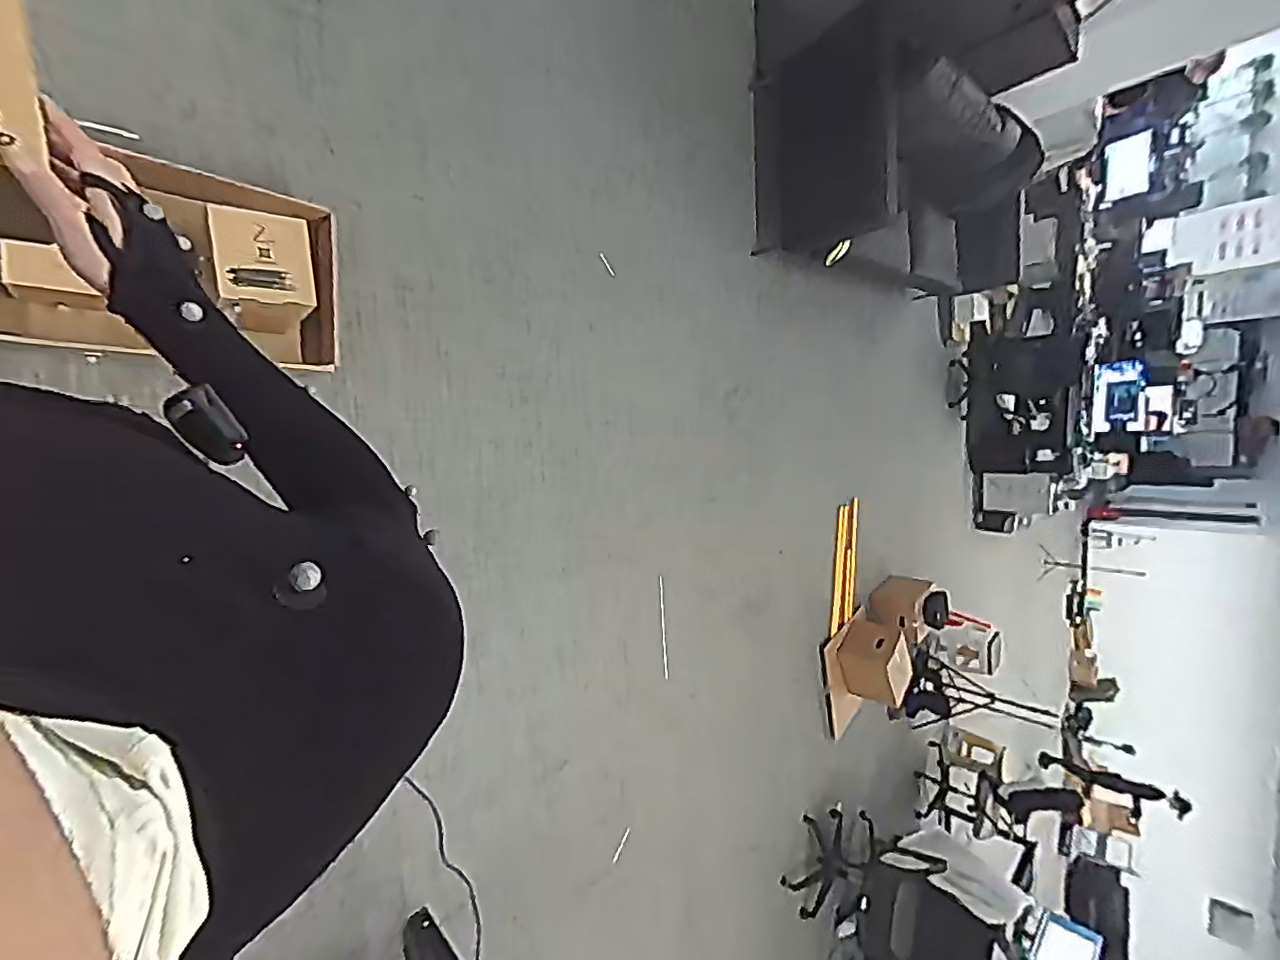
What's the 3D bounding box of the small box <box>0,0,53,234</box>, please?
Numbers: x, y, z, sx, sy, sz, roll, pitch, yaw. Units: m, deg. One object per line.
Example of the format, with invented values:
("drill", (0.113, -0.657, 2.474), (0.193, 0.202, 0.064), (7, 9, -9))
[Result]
("small box", (-0.567, -0.312, 0.399), (0.168, 0.176, 0.179), (-10, 95, -46))
